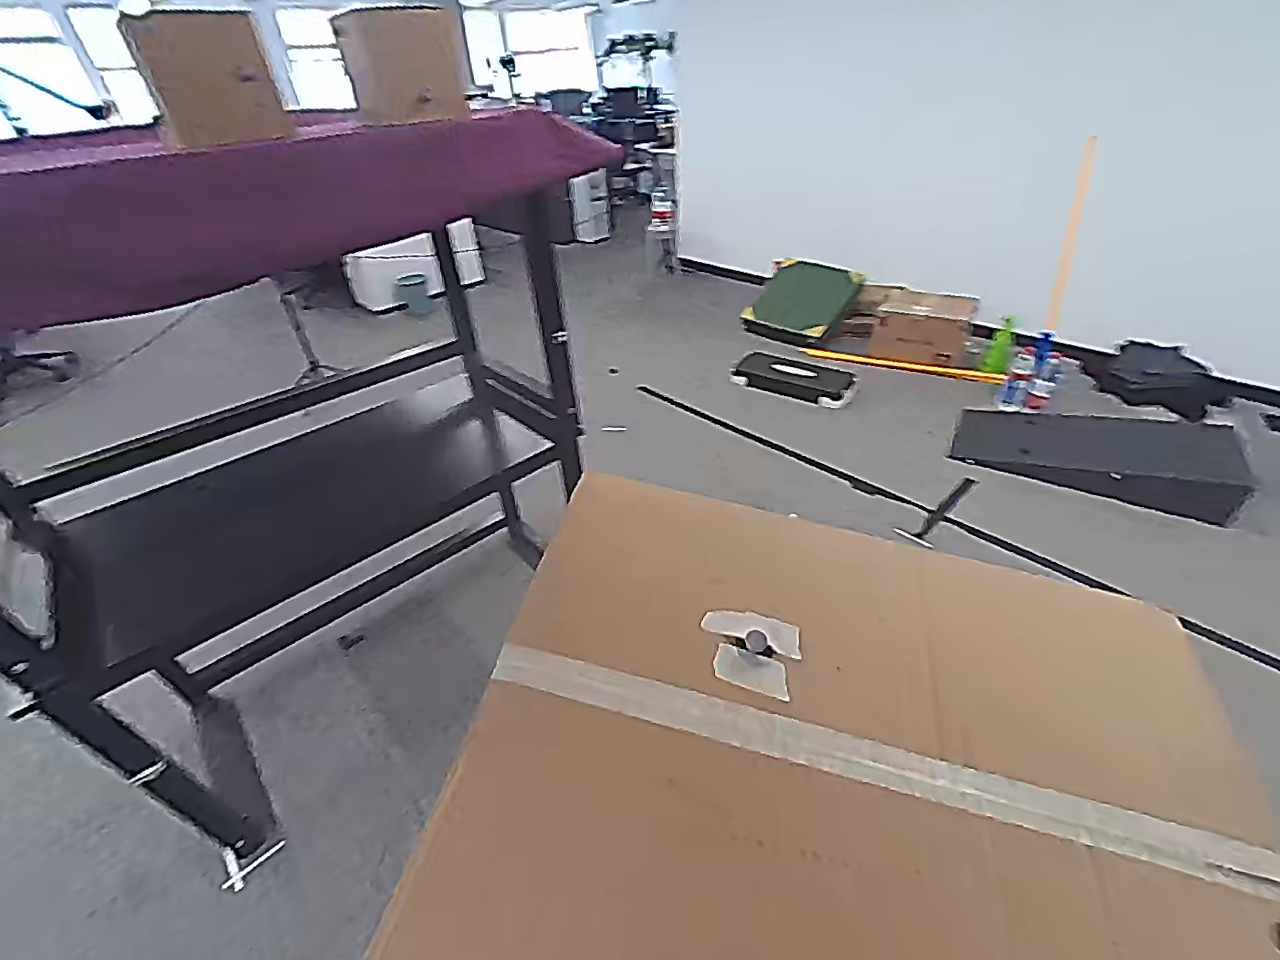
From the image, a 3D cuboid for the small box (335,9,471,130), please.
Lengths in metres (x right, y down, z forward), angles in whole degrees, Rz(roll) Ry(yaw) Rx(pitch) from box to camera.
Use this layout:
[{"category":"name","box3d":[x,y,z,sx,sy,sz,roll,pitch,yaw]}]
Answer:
[{"category":"small box","box3d":[-0.442,-0.778,1.032,0.179,0.176,0.168,-29,42,-29]}]

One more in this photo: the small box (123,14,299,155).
[{"category":"small box","box3d":[-0.694,-0.649,0.892,0.179,0.176,0.168,-30,43,-29]}]
